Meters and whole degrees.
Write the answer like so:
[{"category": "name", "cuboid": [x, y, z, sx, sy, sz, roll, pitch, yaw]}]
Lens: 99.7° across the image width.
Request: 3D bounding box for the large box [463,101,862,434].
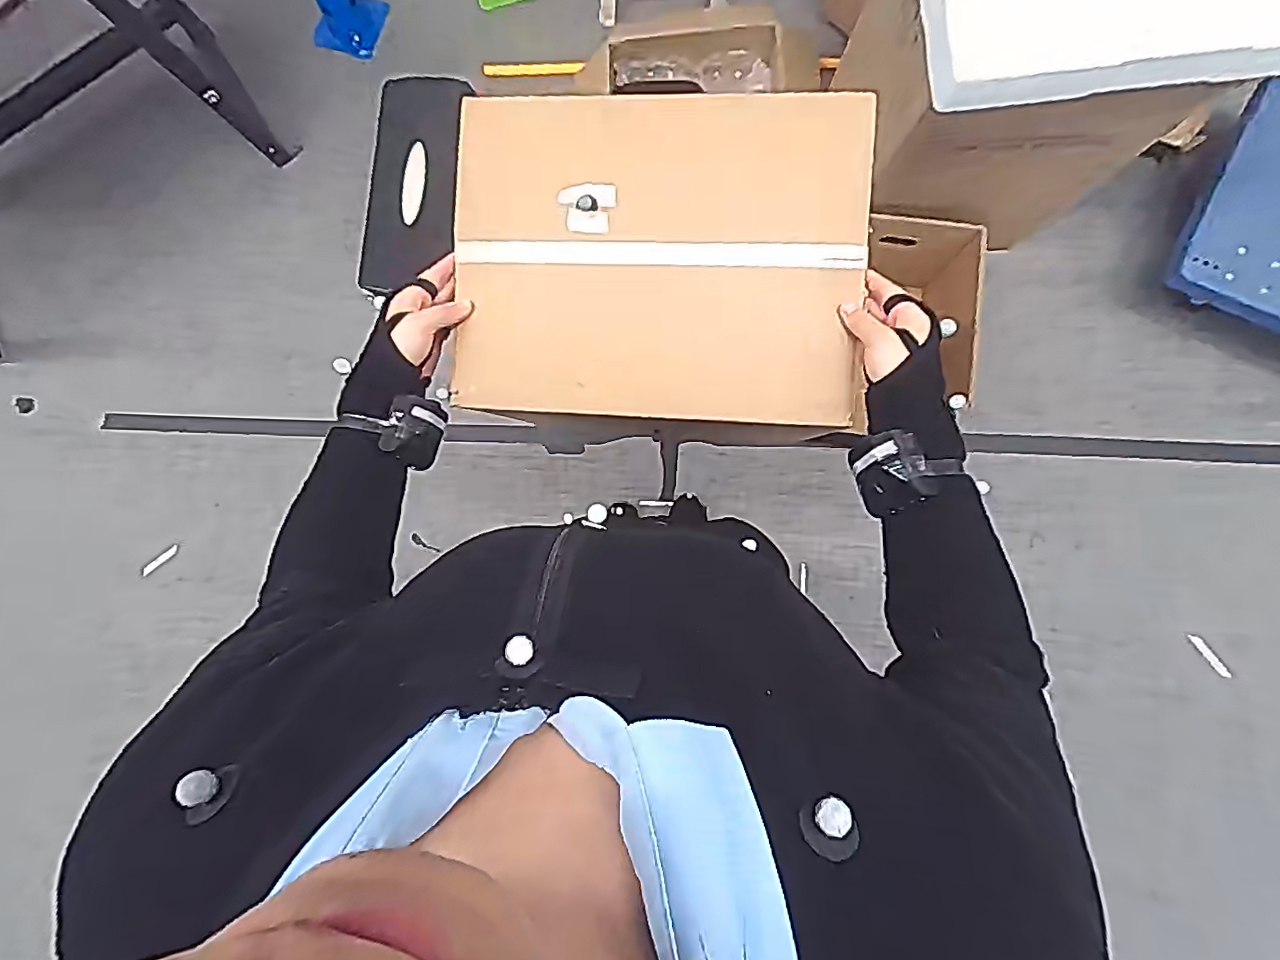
[{"category": "large box", "cuboid": [0.033, -0.223, 0.693, 0.408, 0.320, 0.320, 3, 90, 7]}]
